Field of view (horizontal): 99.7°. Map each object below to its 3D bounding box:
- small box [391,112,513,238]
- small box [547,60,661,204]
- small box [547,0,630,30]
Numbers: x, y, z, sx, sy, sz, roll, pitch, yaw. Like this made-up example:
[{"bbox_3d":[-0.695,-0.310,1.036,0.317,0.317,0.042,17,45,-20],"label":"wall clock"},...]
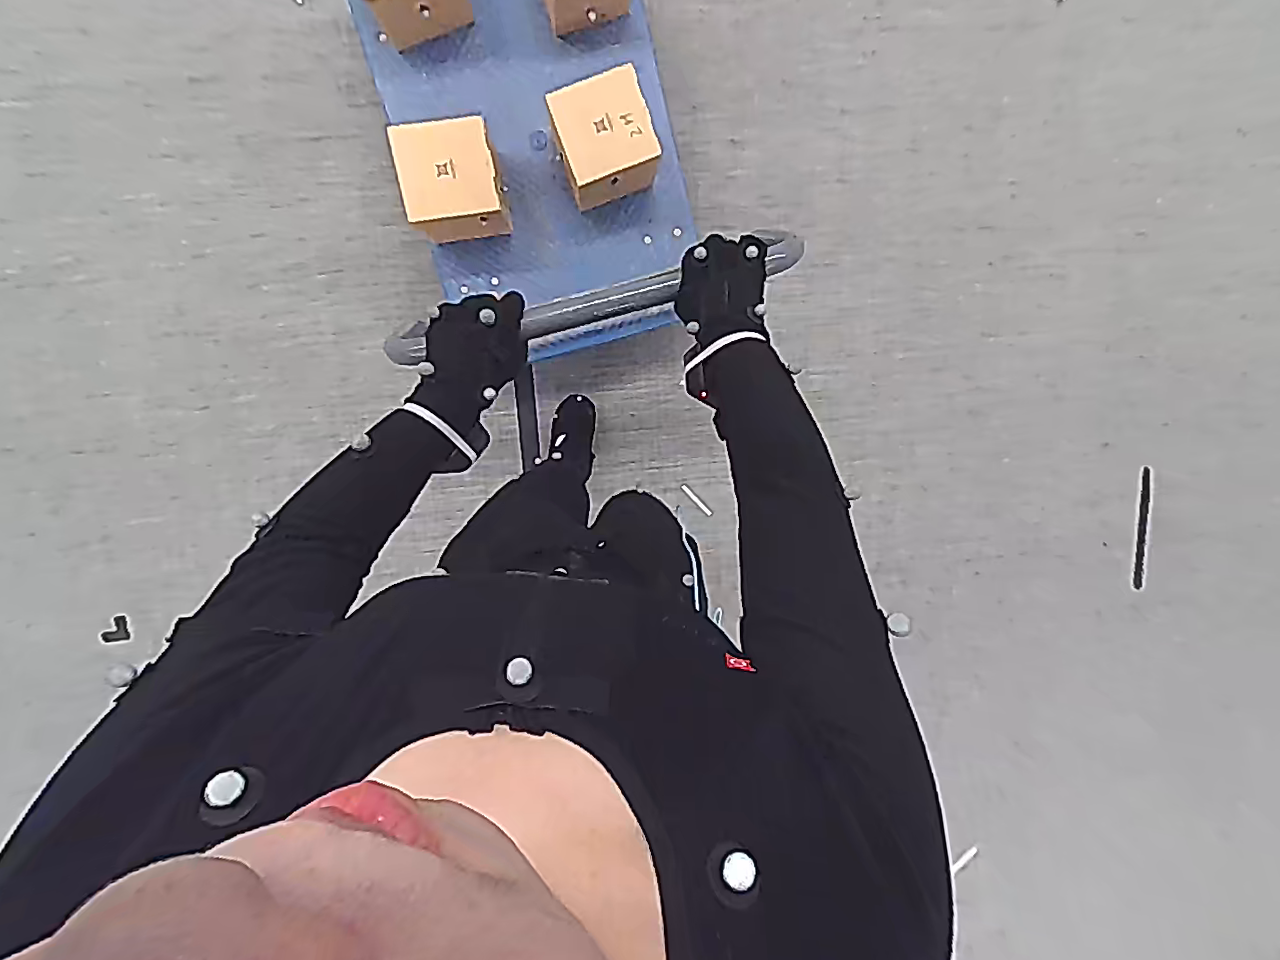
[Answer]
[{"bbox_3d":[-0.365,-0.598,1.081,0.179,0.176,0.168,-11,102,-5],"label":"small box"},{"bbox_3d":[-0.071,-0.686,1.090,0.179,0.176,0.168,-21,103,0],"label":"small box"},{"bbox_3d":[-0.113,-1.014,1.020,0.168,0.176,0.179,-19,103,-2],"label":"small box"}]
